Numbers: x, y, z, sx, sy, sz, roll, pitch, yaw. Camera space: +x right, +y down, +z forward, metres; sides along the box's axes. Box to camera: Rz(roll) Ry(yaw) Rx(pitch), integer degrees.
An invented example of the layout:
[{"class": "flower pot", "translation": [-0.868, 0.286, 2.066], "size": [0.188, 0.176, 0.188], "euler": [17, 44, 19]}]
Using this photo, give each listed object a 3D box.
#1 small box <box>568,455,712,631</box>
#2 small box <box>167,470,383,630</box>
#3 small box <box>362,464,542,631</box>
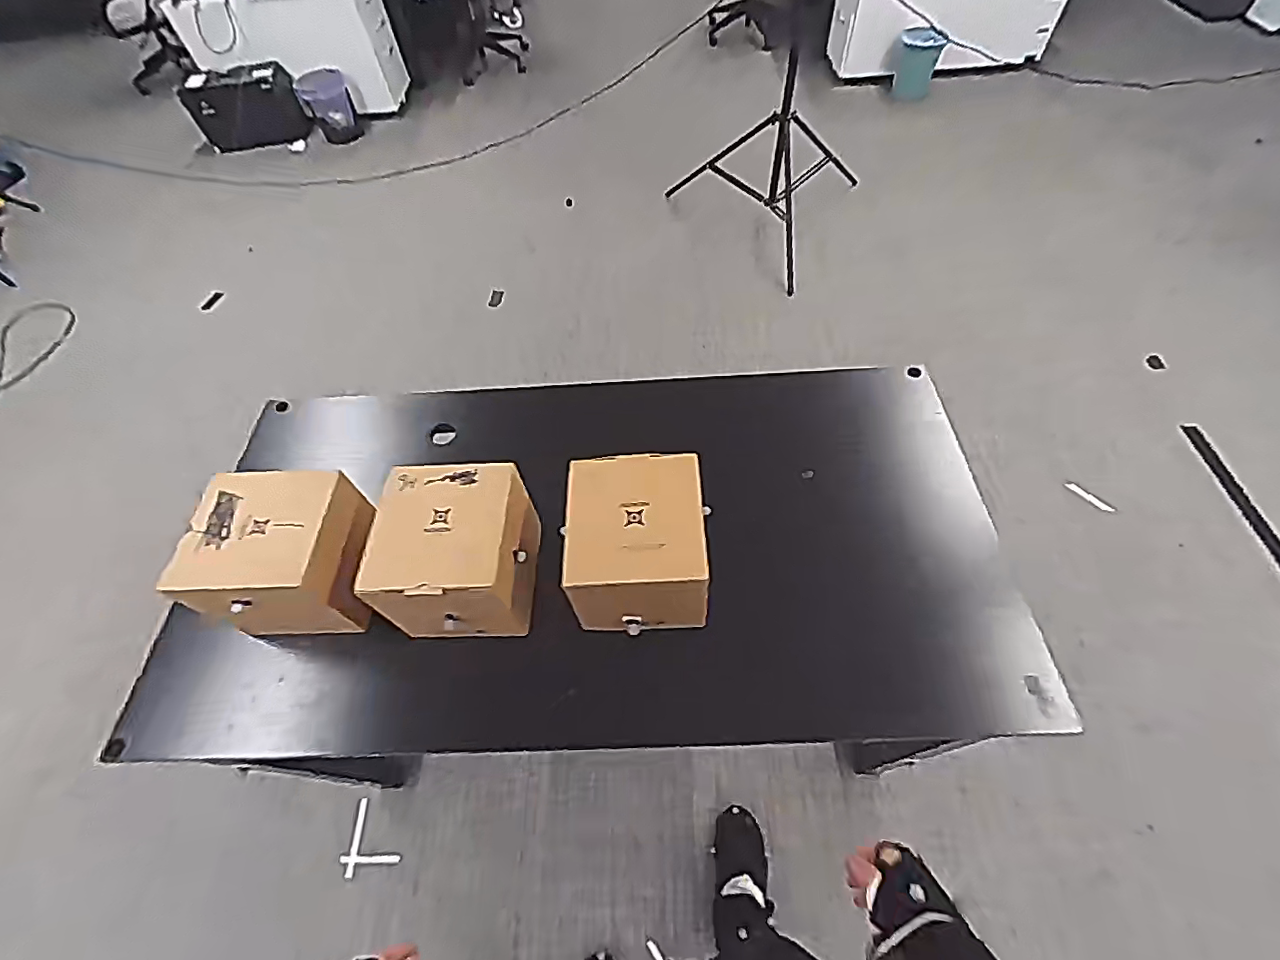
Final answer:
[{"class": "small box", "translation": [0.003, 0.087, 0.721], "size": [0.168, 0.176, 0.179], "euler": [-4, 57, 3]}, {"class": "small box", "translation": [-0.467, 0.102, 0.741], "size": [0.179, 0.176, 0.168], "euler": [-2, 57, 2]}, {"class": "small box", "translation": [-0.235, 0.098, 0.728], "size": [0.168, 0.176, 0.179], "euler": [-2, 57, 3]}]
